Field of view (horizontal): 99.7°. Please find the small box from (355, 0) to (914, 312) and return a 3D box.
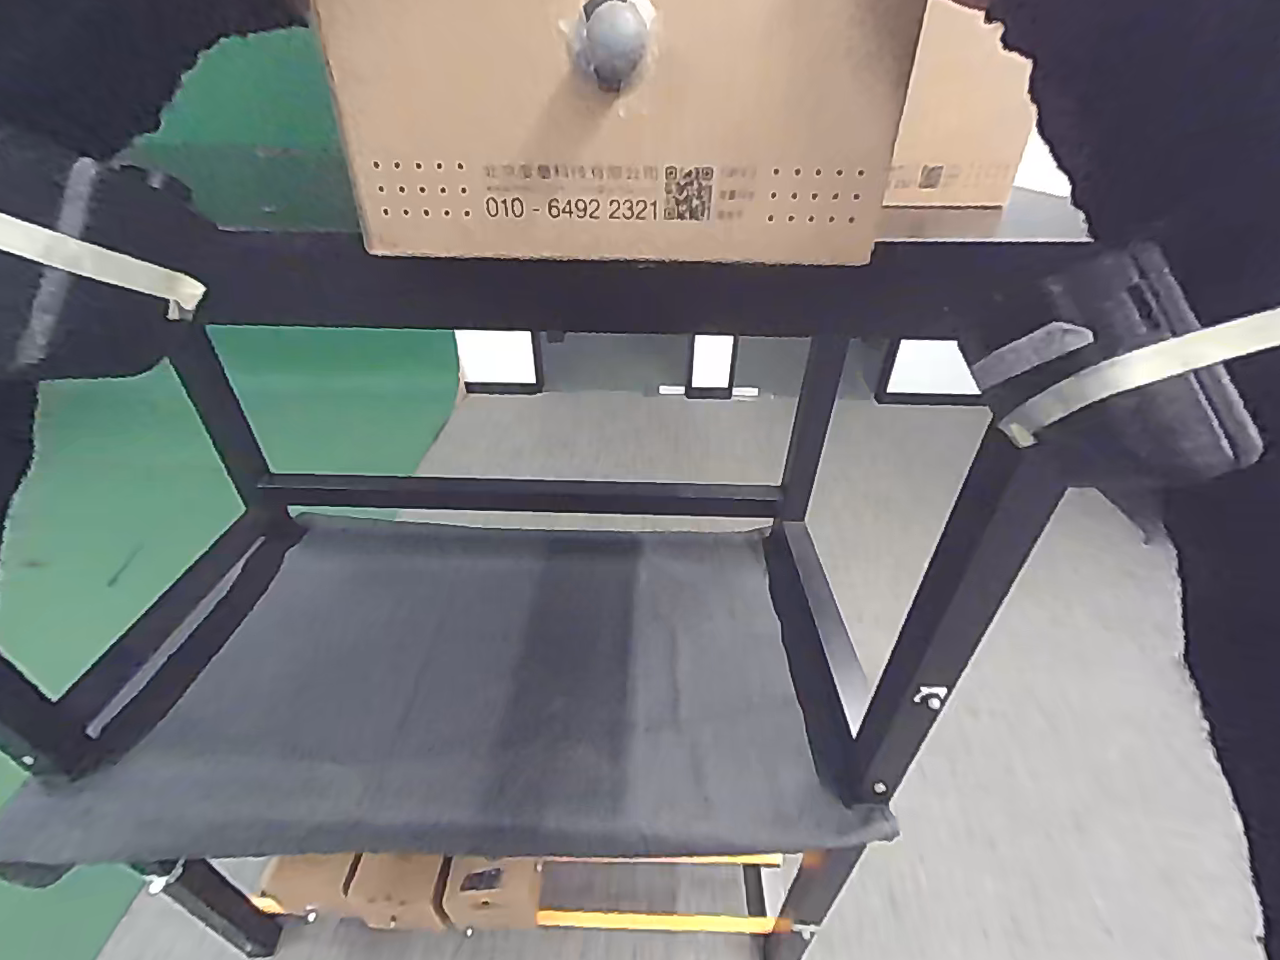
[{"bbox_3d":[-0.004,-0.176,0.220,0.168,0.176,0.179,1,32,0],"label":"small box"}]
